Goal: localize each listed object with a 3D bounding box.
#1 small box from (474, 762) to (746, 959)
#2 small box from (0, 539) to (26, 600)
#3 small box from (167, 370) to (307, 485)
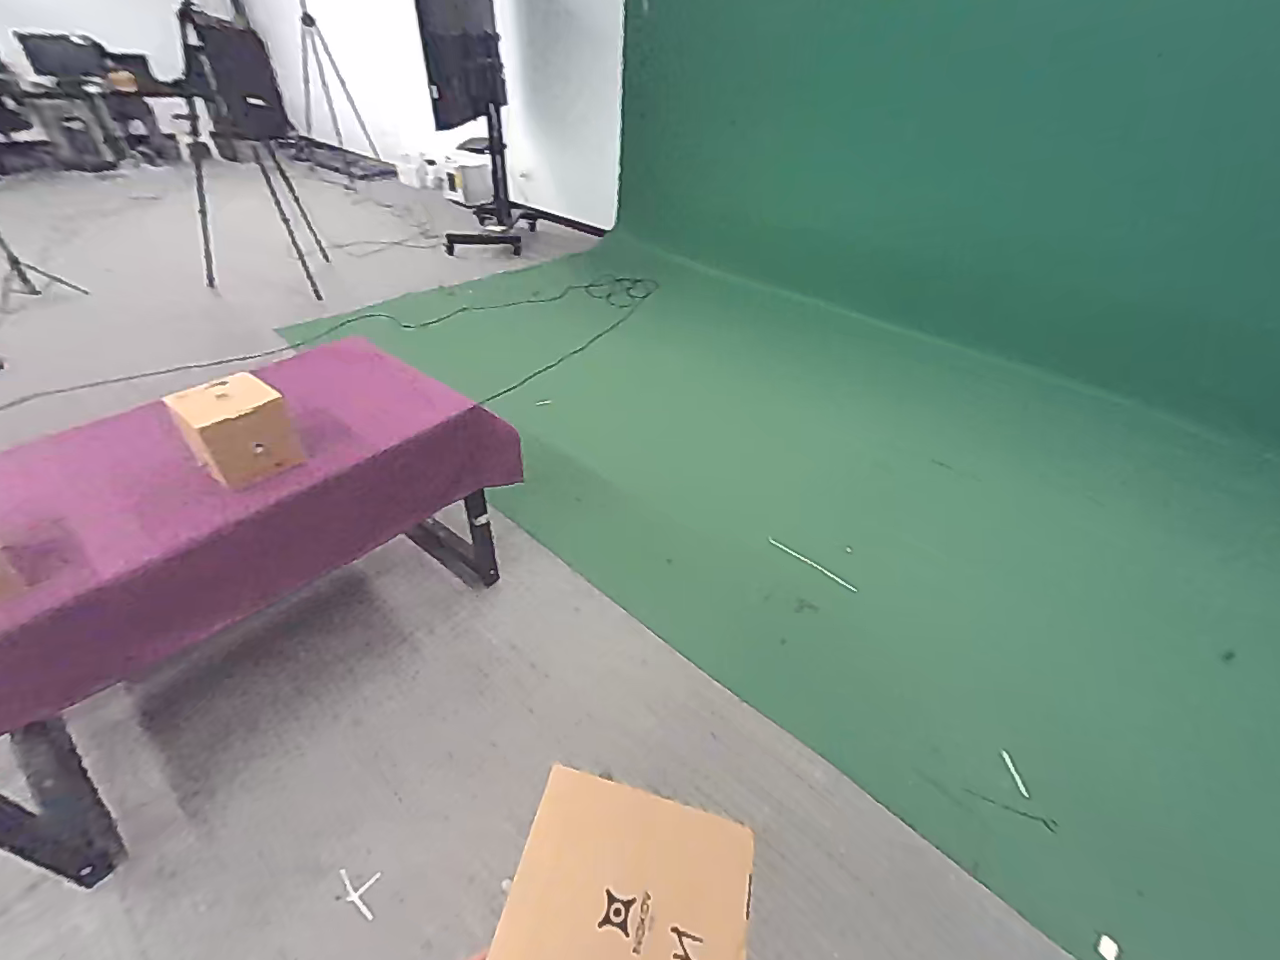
[{"bbox_3d":[-0.027,0.368,0.447,0.179,0.176,0.168,16,45,4],"label":"small box"},{"bbox_3d":[-1.161,0.127,0.868,0.179,0.176,0.168,27,43,26],"label":"small box"},{"bbox_3d":[-0.872,-0.111,1.184,0.179,0.176,0.168,29,45,27],"label":"small box"}]
